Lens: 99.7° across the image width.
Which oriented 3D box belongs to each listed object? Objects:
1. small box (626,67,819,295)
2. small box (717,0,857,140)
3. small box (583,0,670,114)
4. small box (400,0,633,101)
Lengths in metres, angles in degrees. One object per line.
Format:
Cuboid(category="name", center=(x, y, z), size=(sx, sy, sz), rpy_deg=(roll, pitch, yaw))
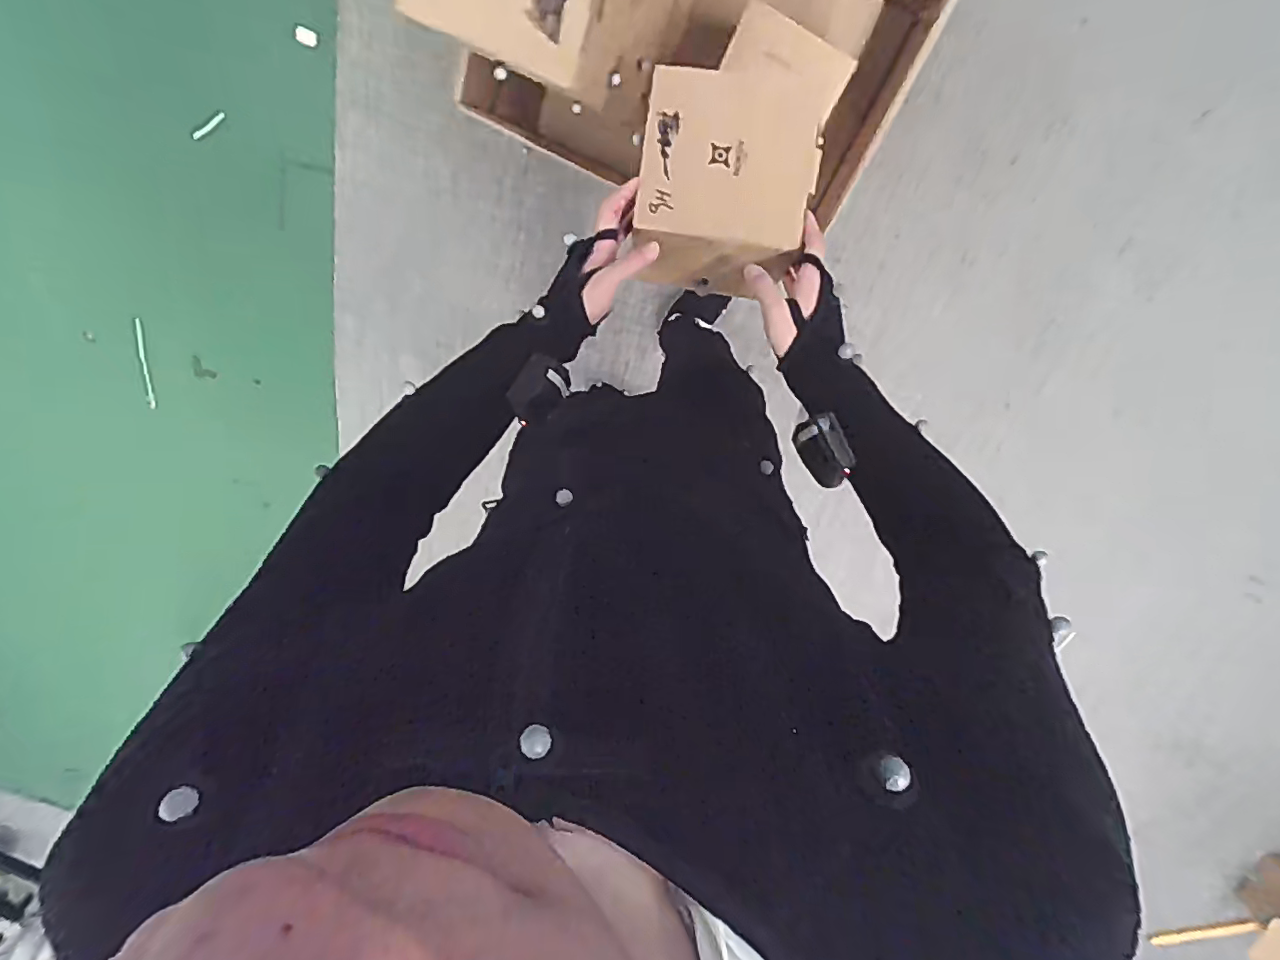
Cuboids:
Cuboid(category="small box", center=(0.084, -0.327, 0.629), size=(0.179, 0.176, 0.168), rpy_deg=(9, 93, 1))
Cuboid(category="small box", center=(0.196, -0.572, 0.821), size=(0.168, 0.176, 0.179), rpy_deg=(28, 120, -6))
Cuboid(category="small box", center=(-0.076, -0.586, 0.676), size=(0.179, 0.176, 0.168), rpy_deg=(24, 120, -5))
Cuboid(category="small box", center=(-0.104, -0.504, 0.536), size=(0.179, 0.176, 0.168), rpy_deg=(23, 120, -3))
